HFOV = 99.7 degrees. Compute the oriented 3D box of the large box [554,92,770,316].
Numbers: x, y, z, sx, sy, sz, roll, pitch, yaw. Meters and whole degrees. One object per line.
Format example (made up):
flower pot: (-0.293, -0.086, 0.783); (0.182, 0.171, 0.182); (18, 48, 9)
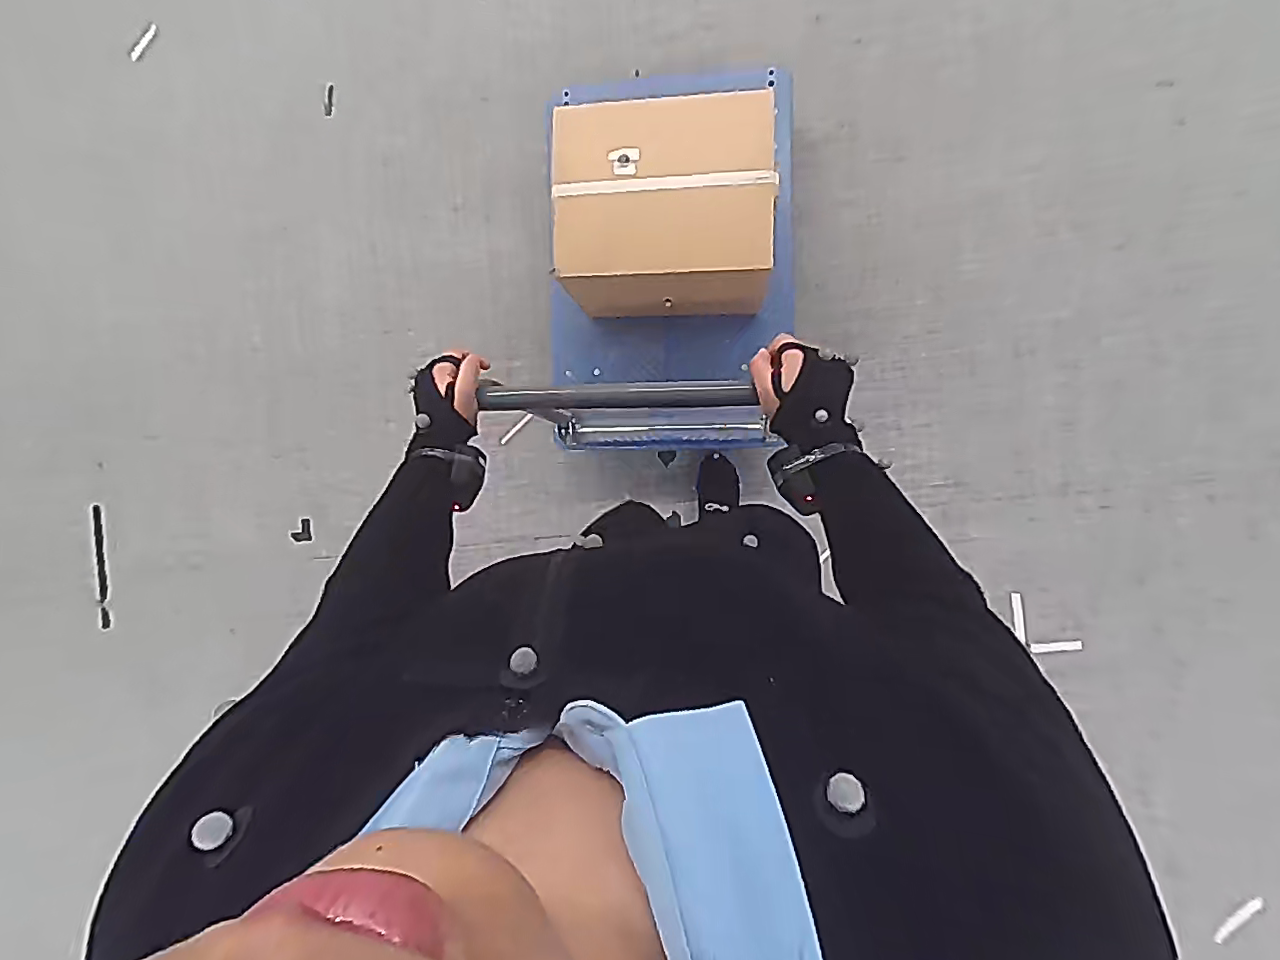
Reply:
large box: (0.058, -0.544, 1.143); (0.408, 0.320, 0.320); (0, 91, 8)
